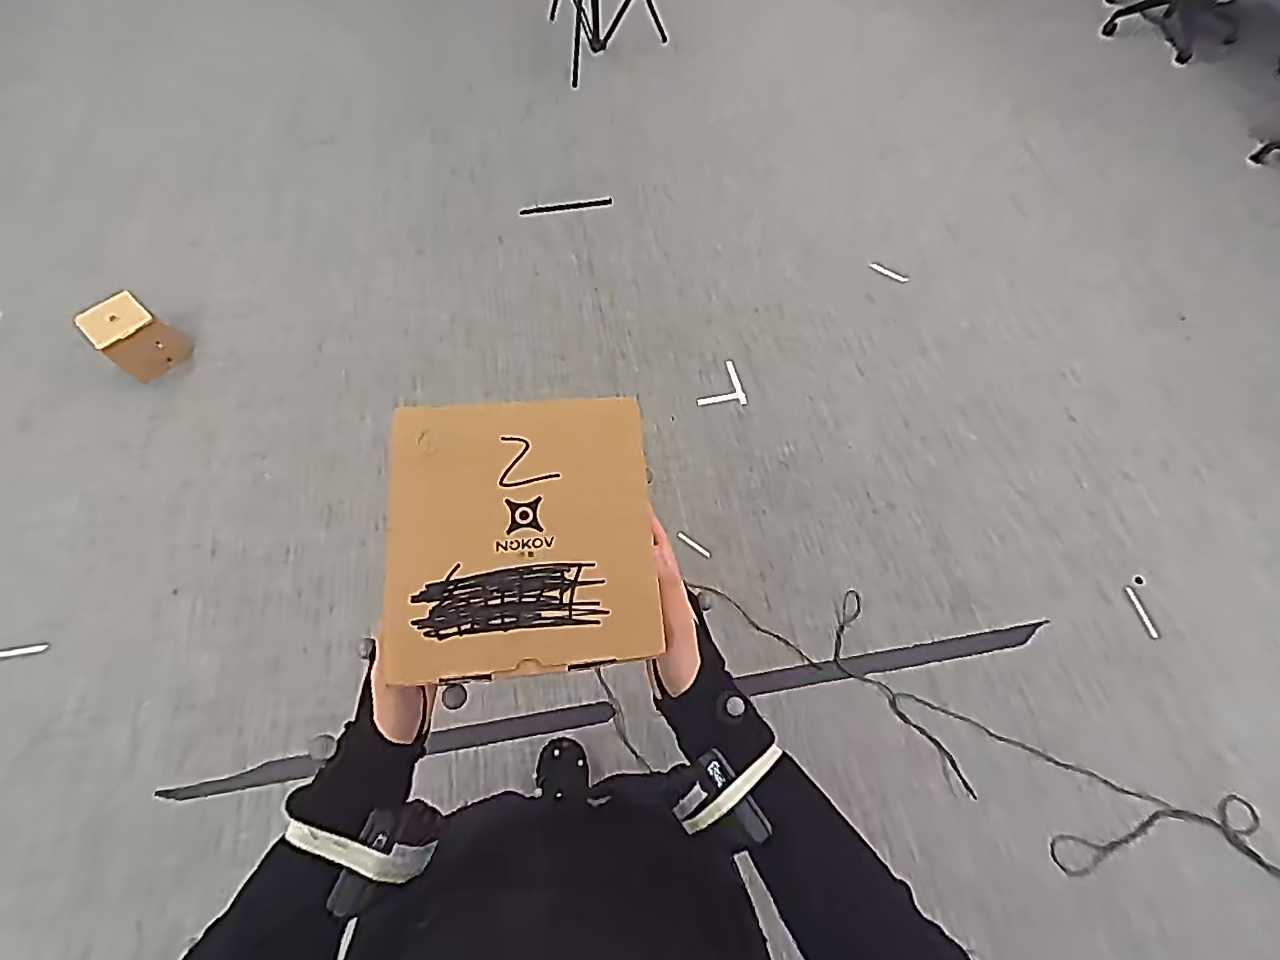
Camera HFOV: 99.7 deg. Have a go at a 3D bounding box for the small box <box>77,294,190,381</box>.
[{"bbox_3d":[-1.580,-0.439,1.699,0.179,0.176,0.168,38,68,17],"label":"small box"}]
